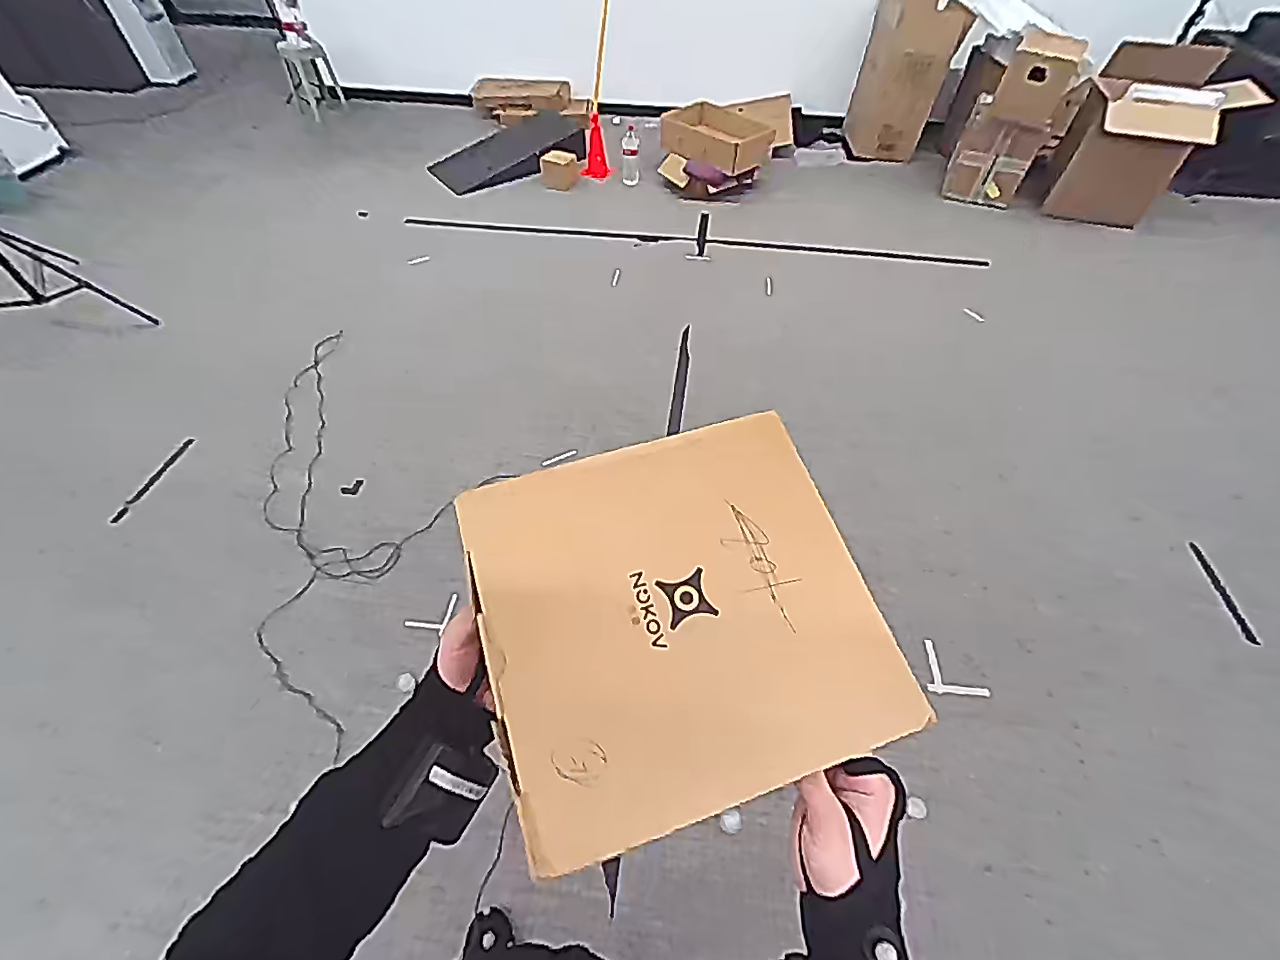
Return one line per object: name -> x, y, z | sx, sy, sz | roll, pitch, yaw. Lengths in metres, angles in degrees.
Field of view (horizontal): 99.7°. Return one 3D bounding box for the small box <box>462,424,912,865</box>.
small box -> 0.012, 0.095, 0.328 | 0.179, 0.176, 0.168 | -16, 66, -13
